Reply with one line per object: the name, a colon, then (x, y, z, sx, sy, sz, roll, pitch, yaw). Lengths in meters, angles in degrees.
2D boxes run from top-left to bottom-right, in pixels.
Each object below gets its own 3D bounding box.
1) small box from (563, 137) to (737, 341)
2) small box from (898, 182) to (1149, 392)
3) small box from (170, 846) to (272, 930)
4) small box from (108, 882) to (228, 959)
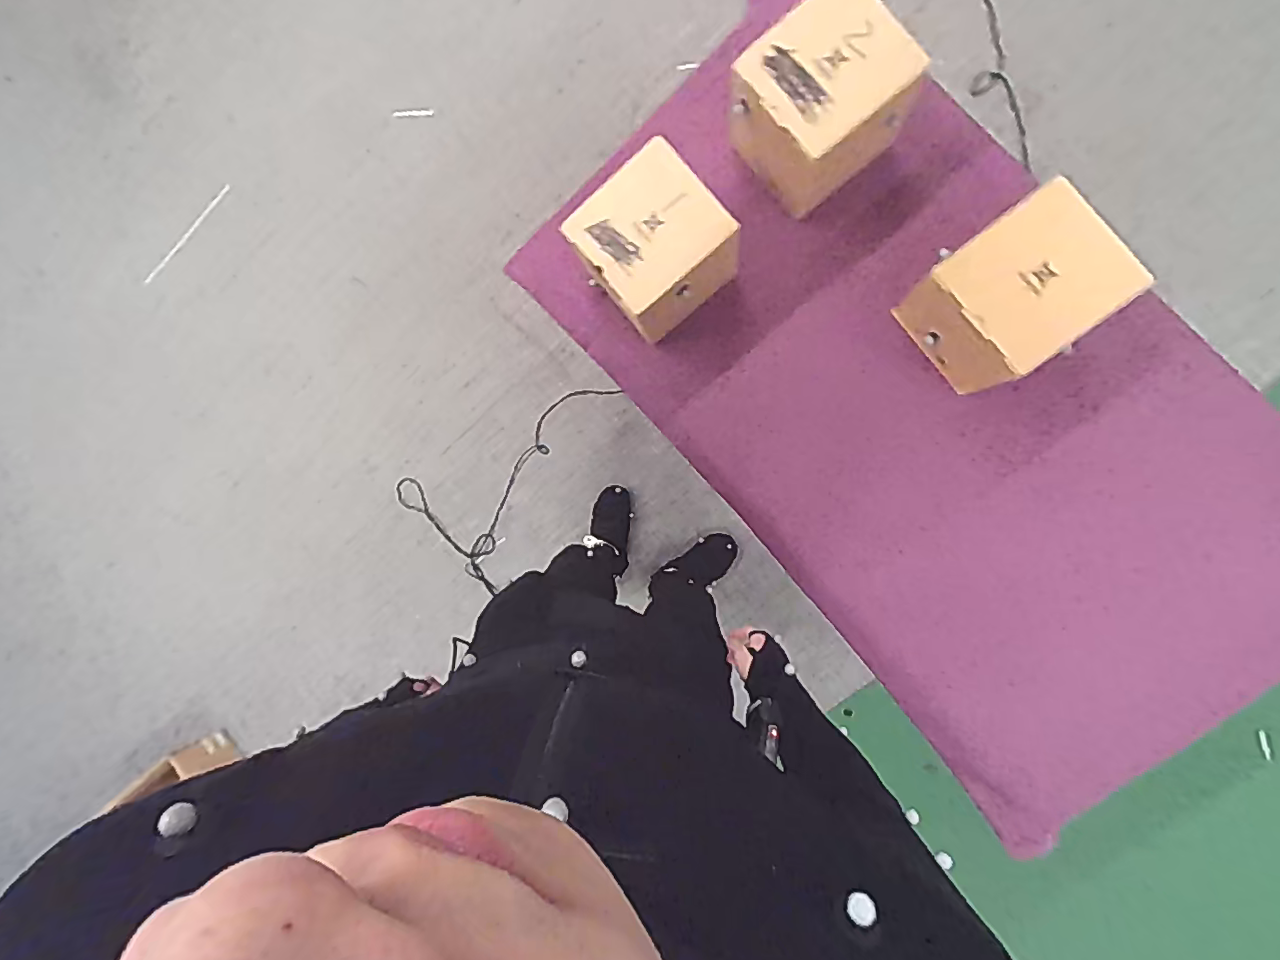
small box: (0.023, -0.328, 0.780, 0.179, 0.176, 0.168, -40, 86, 7)
small box: (0.482, -0.237, 0.714, 0.179, 0.176, 0.168, -38, 86, 9)
small box: (-1.340, 1.333, 1.734, 0.179, 0.176, 0.168, -37, 86, 9)
small box: (-1.364, 1.336, 1.572, 0.179, 0.176, 0.168, -37, 86, 8)
